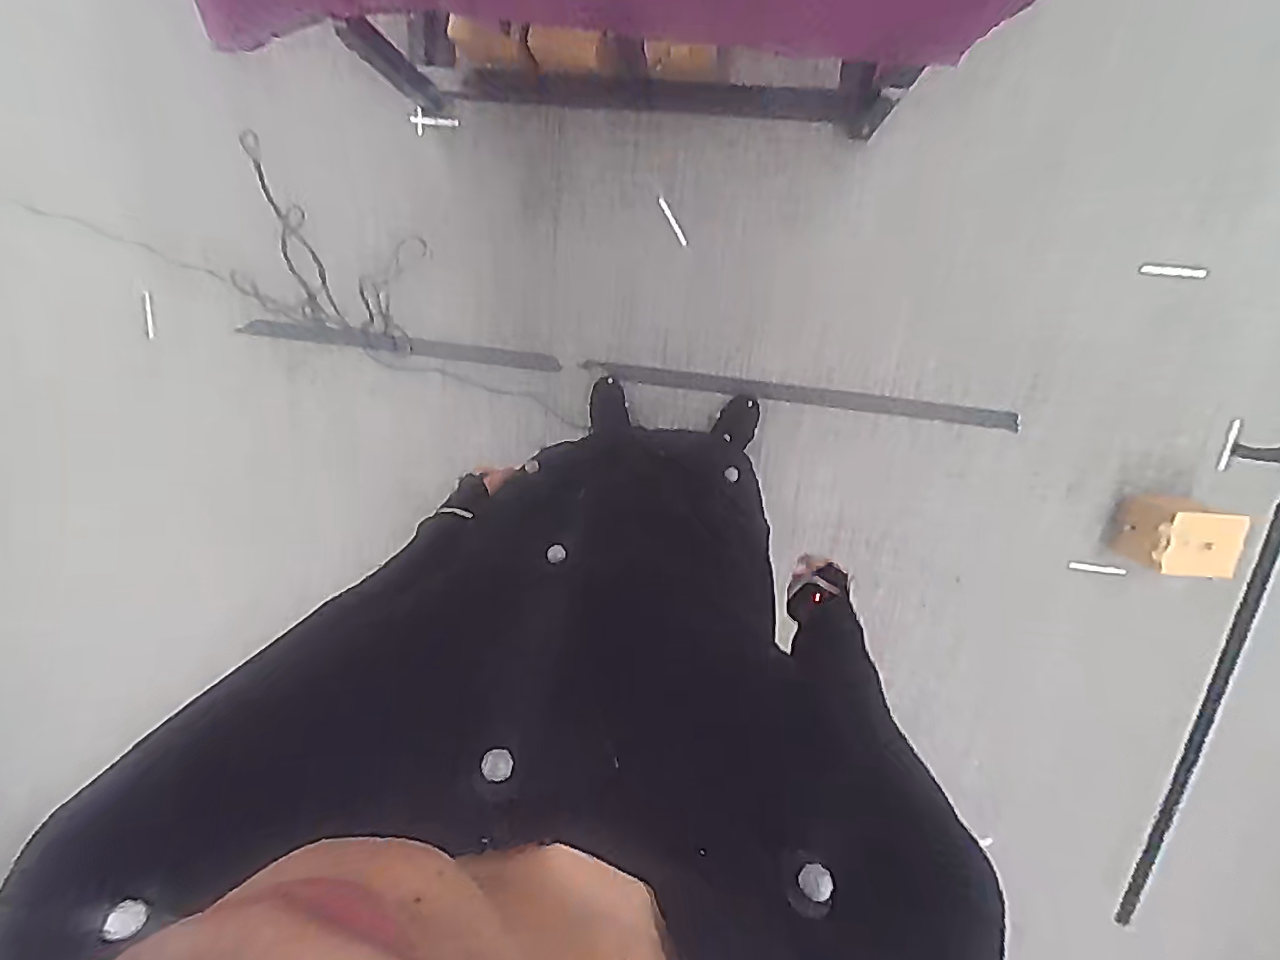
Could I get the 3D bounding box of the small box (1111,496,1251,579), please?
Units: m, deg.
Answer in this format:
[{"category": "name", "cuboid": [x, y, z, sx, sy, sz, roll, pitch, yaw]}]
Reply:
[{"category": "small box", "cuboid": [1.410, 0.145, 1.423, 0.179, 0.176, 0.168, 4, 104, 6]}]
